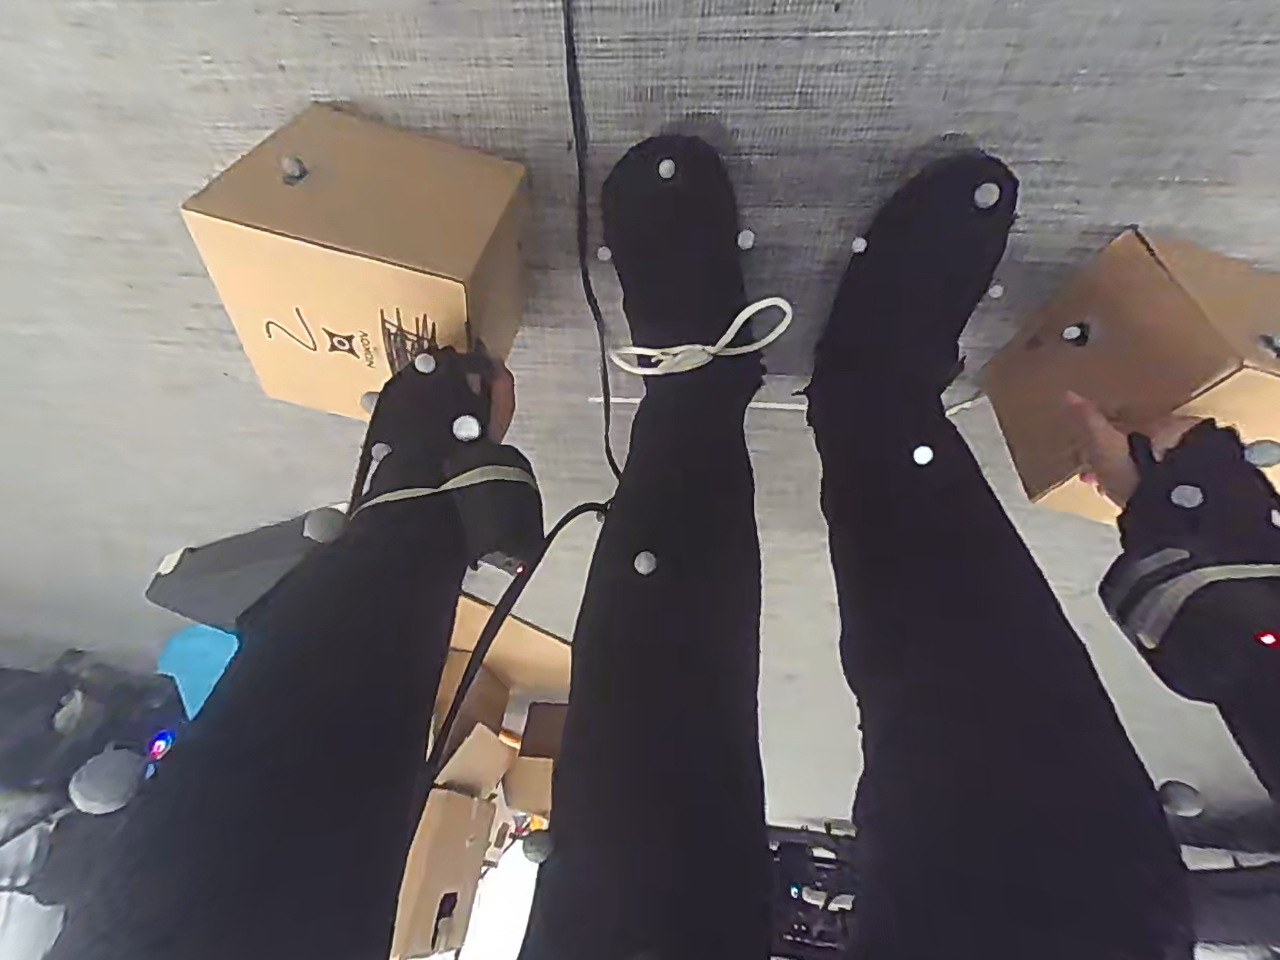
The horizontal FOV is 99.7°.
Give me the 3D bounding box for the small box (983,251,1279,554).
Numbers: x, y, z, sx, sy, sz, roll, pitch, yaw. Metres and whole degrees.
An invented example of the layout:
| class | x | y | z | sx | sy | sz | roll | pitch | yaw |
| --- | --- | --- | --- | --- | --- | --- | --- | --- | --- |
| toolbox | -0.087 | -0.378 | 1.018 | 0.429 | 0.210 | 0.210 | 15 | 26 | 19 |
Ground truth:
| class | x | y | z | sx | sy | sz | roll | pitch | yaw |
| --- | --- | --- | --- | --- | --- | --- | --- | --- | --- |
| small box | 0.438 | -0.062 | 0.455 | 0.179 | 0.176 | 0.168 | 14 | 144 | -7 |
